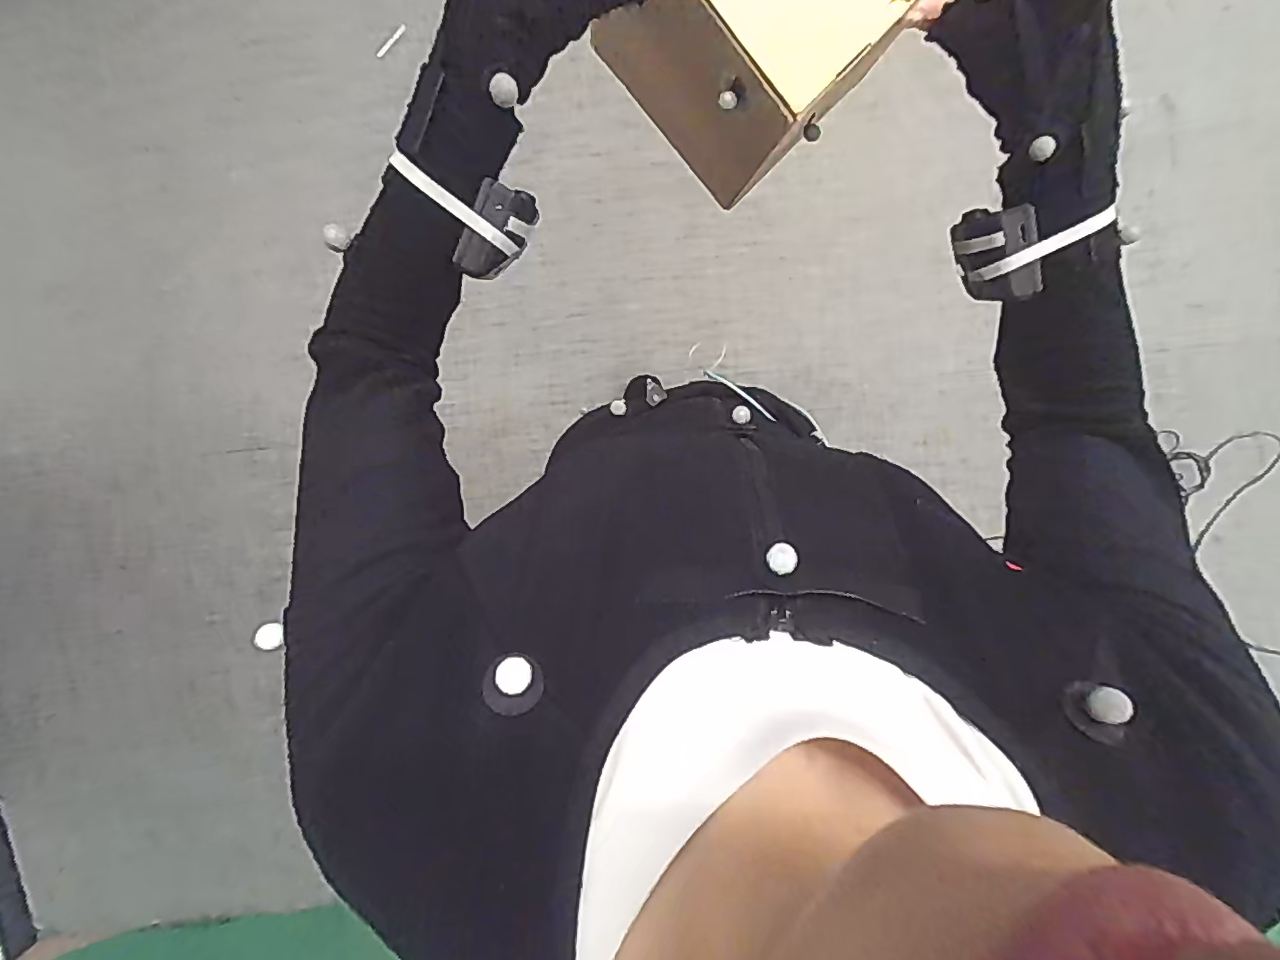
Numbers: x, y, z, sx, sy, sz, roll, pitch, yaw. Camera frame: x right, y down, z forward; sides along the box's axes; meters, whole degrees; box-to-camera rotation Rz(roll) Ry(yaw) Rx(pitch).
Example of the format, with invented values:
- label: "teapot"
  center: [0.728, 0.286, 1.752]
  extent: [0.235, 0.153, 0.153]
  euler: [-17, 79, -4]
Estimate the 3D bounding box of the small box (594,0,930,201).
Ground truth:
- label: "small box"
  center: [0.080, -0.343, 0.386]
  extent: [0.168, 0.176, 0.179]
  euler: [-43, 102, 2]
